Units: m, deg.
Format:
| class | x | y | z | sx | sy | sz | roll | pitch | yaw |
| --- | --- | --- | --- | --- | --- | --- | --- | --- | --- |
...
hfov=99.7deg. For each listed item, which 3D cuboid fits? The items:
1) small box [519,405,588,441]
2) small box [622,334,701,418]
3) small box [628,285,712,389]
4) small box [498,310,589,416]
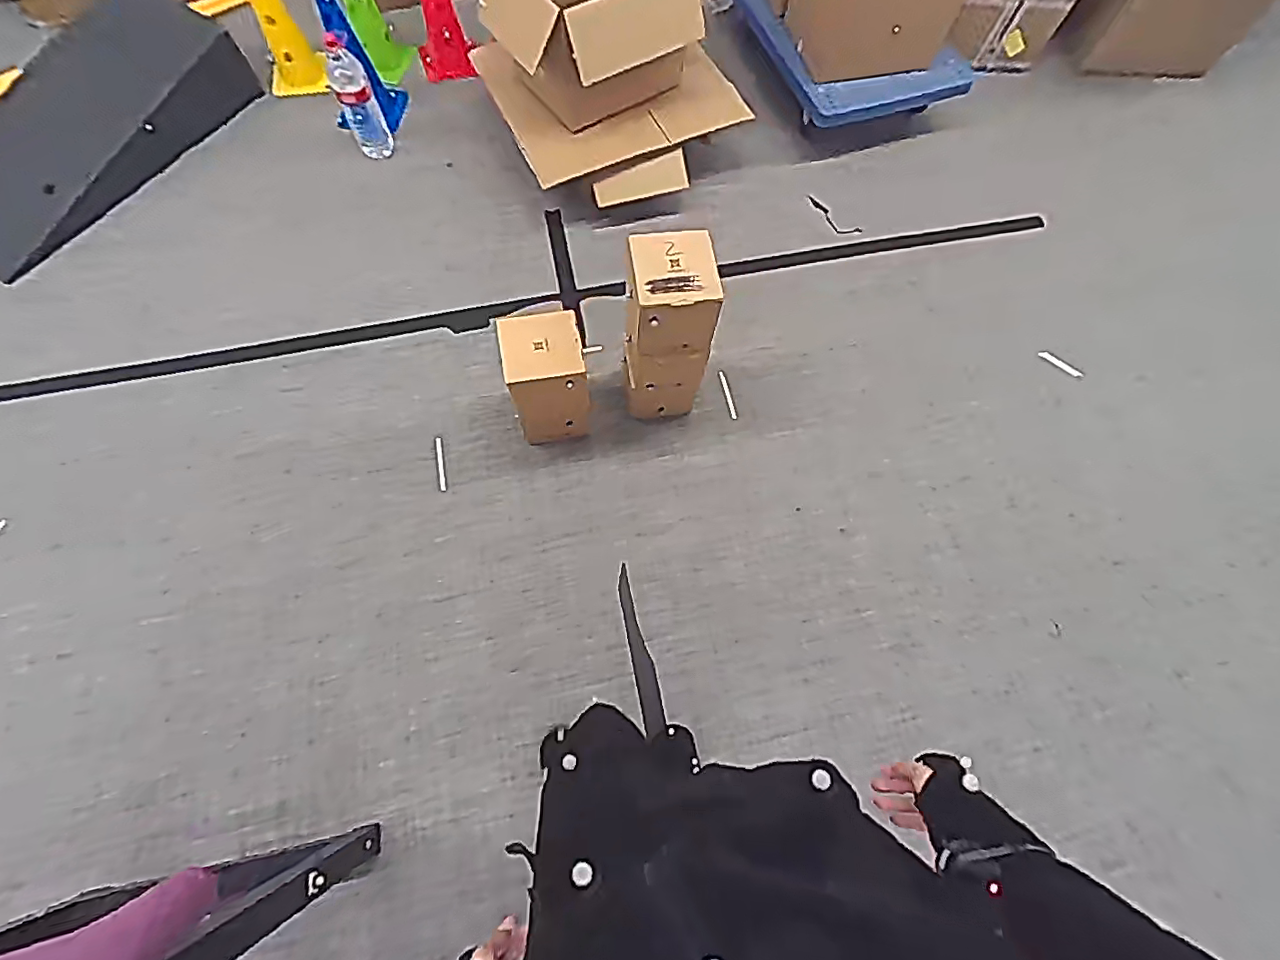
| class | x | y | z | sx | sy | sz | roll | pitch | yaw |
| --- | --- | --- | --- | --- | --- | --- | --- | --- | --- |
| small box | -0.230 | -0.213 | 1.396 | 0.168 | 0.176 | 0.179 | -11 | 70 | -8 |
| small box | 0.051 | -0.278 | 1.435 | 0.179 | 0.176 | 0.168 | -6 | 71 | -6 |
| small box | 0.064 | -0.329 | 1.278 | 0.168 | 0.176 | 0.179 | -7 | 70 | -6 |
| small box | -0.216 | -0.261 | 1.242 | 0.179 | 0.176 | 0.168 | -10 | 71 | -8 |
